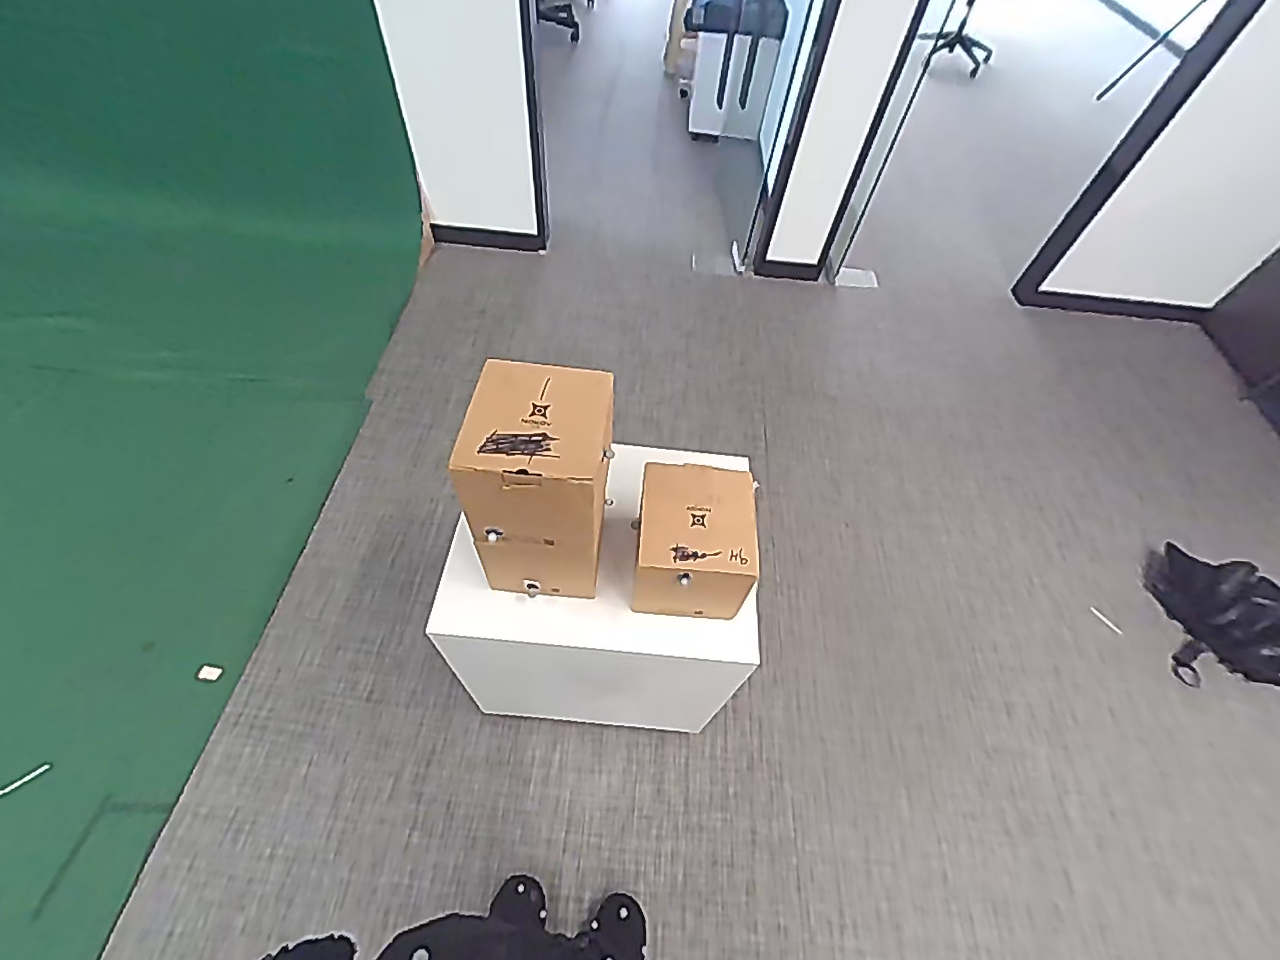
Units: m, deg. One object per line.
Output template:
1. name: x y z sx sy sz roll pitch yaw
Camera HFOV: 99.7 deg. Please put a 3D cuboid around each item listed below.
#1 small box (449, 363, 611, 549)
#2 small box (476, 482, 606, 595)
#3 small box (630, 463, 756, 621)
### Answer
1. small box: -0.129 -0.027 0.714 0.168 0.176 0.179 7 53 0
2. small box: -0.141 0.060 0.834 0.168 0.176 0.179 4 56 -2
3. small box: 0.076 0.099 0.842 0.168 0.176 0.179 6 54 -1
